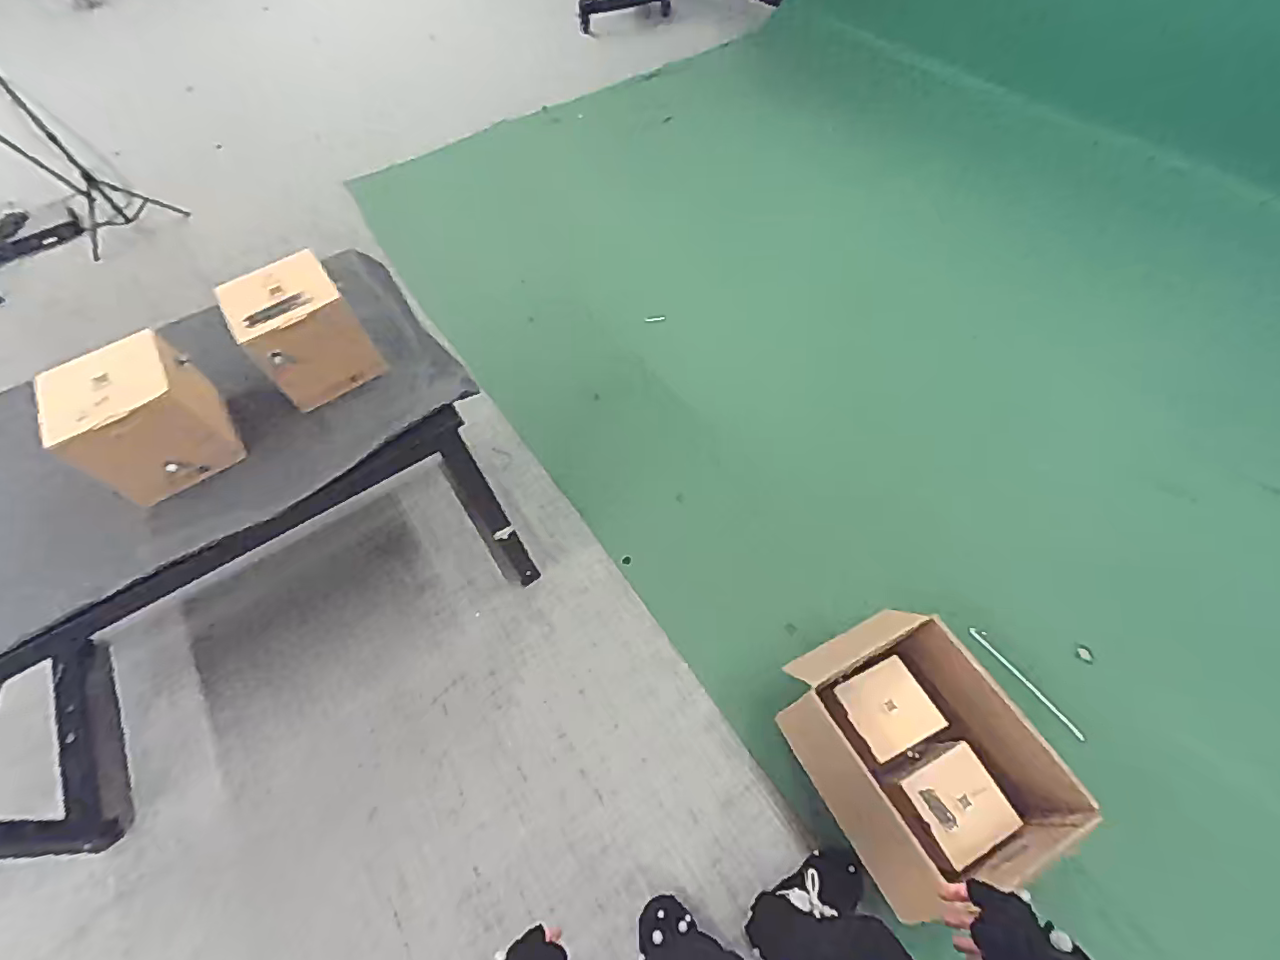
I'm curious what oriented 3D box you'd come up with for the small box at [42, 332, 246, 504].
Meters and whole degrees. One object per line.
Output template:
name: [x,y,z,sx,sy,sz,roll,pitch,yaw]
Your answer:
small box: [-0.776,-0.095,0.859,0.168,0.176,0.179,-32,61,-16]
